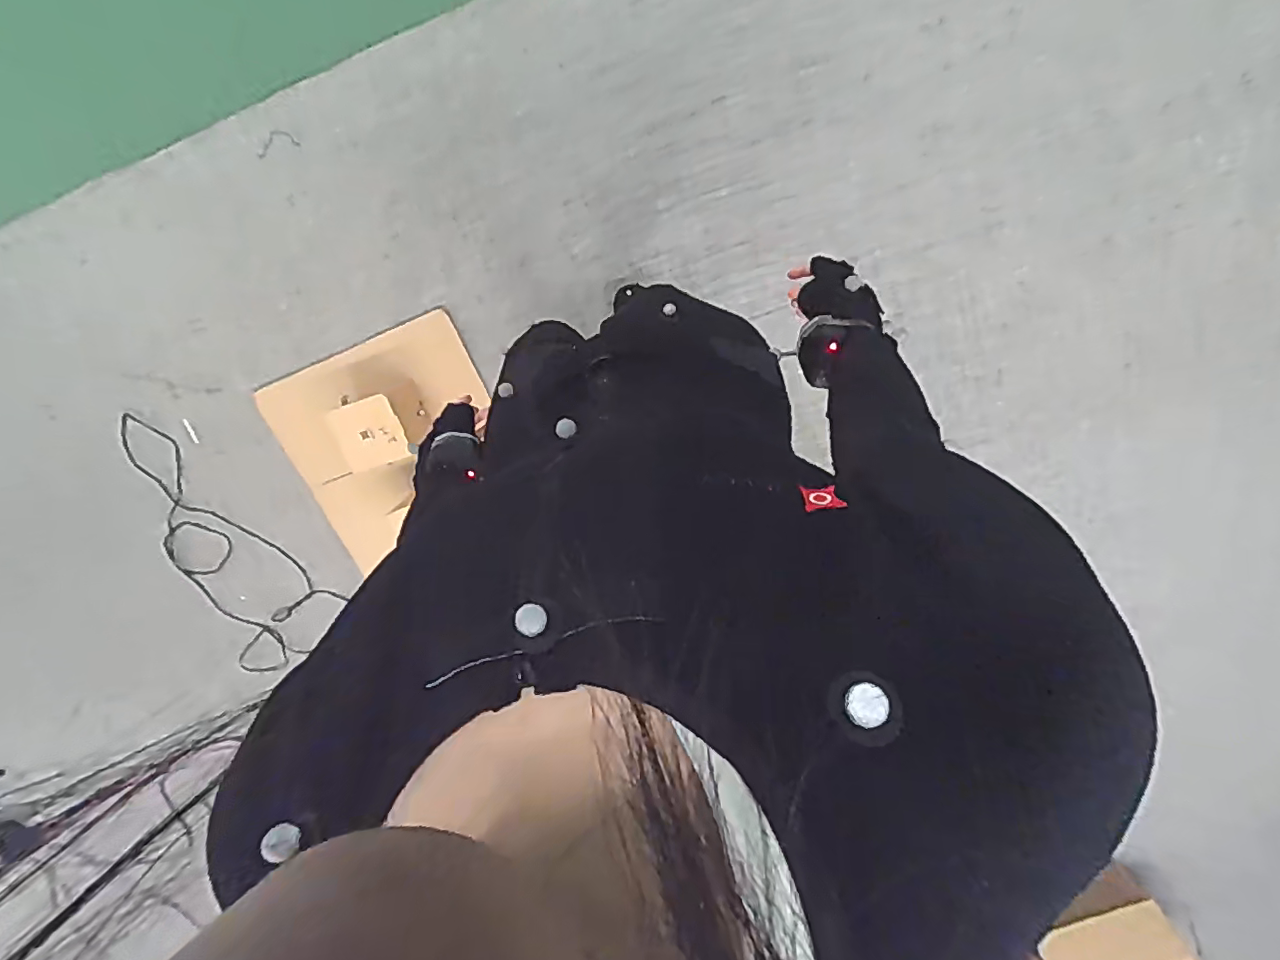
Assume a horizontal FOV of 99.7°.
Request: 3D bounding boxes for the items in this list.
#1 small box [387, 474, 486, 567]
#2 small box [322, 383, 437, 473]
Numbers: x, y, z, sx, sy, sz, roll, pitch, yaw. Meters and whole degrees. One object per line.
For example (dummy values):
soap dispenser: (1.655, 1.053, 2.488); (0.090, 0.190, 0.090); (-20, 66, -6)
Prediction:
small box: (-0.539, 0.103, 1.469); (0.179, 0.176, 0.168); (-22, 108, 10)
small box: (-0.658, -0.138, 1.389); (0.179, 0.176, 0.168); (-16, 110, 7)
